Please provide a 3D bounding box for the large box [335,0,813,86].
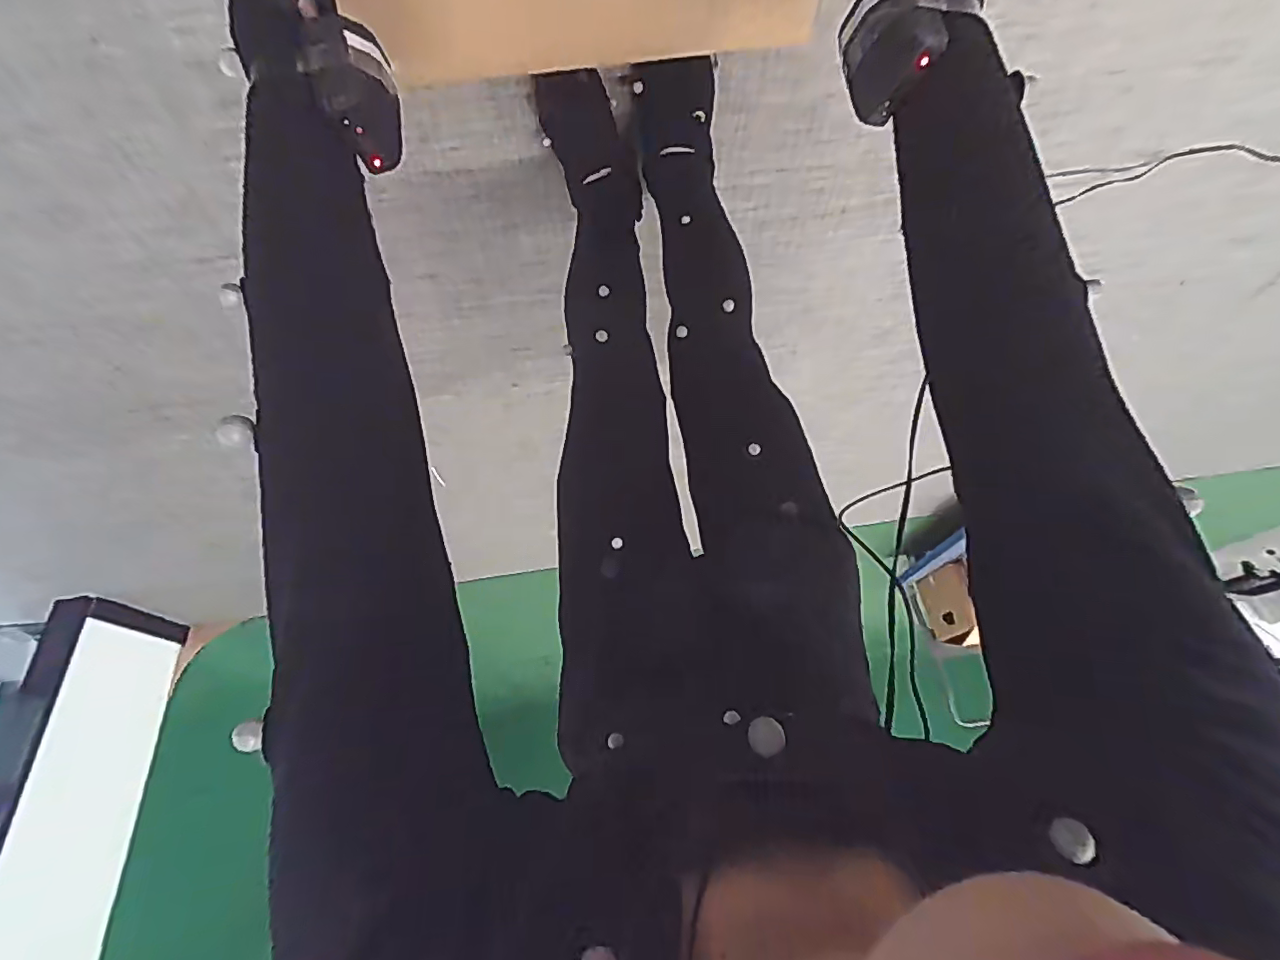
[{"bbox_3d":[-0.066,-0.578,0.412,0.408,0.320,0.320,-6,155,0],"label":"large box"}]
